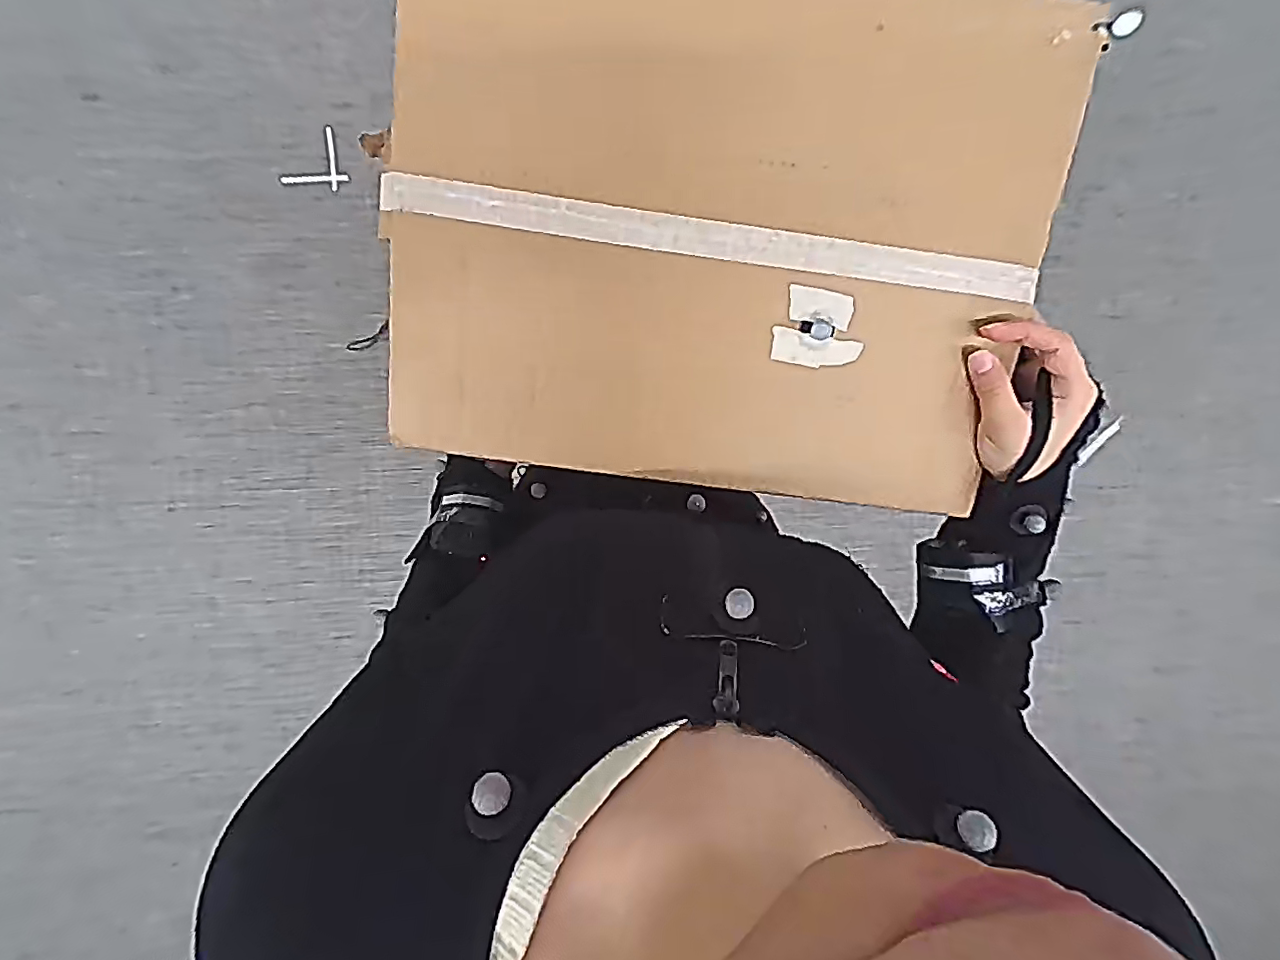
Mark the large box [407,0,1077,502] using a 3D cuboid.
[{"bbox_3d":[0.046,-0.183,0.491,0.408,0.320,0.320,6,104,-5],"label":"large box"}]
